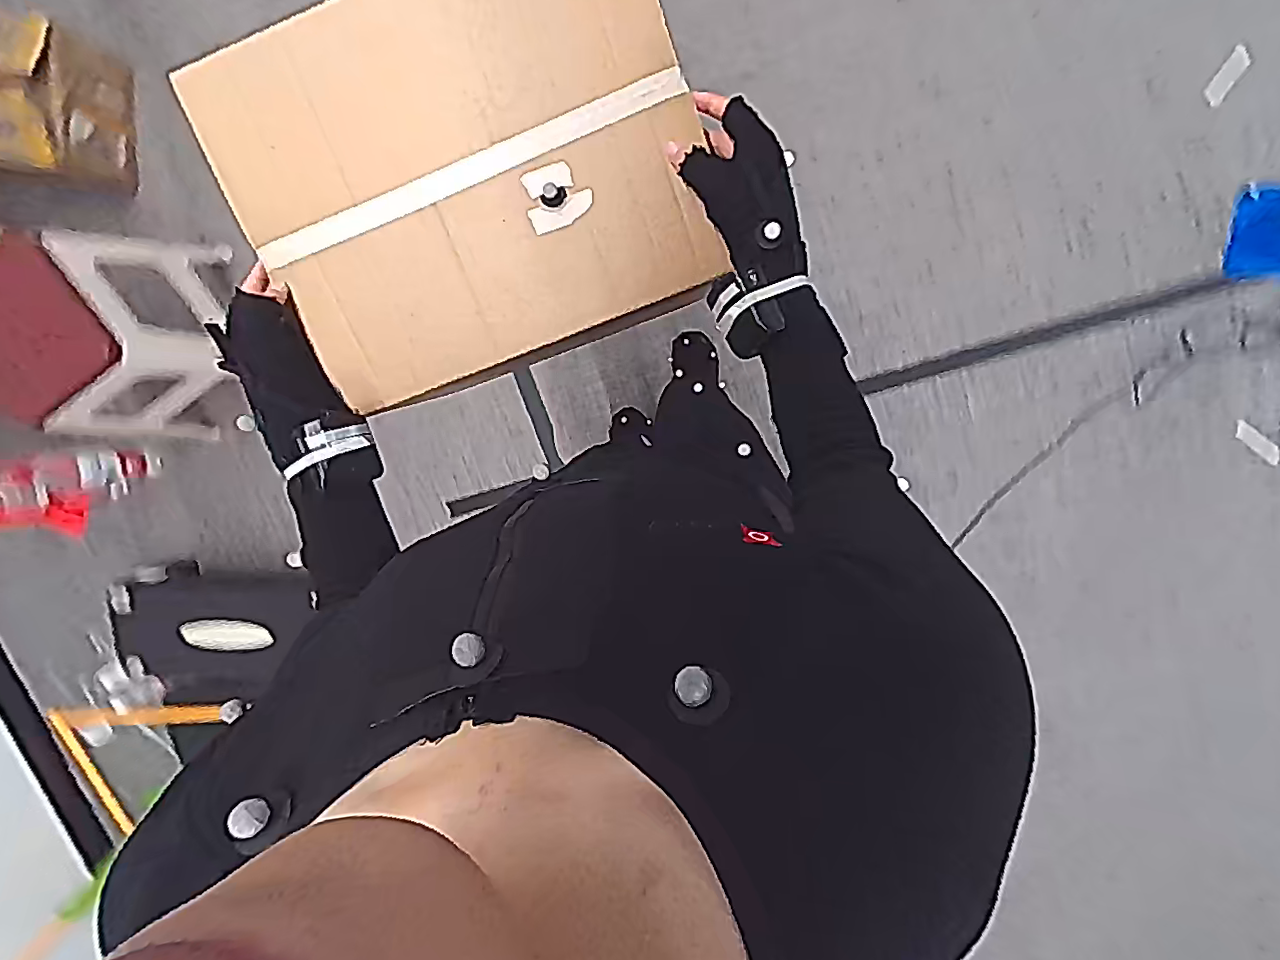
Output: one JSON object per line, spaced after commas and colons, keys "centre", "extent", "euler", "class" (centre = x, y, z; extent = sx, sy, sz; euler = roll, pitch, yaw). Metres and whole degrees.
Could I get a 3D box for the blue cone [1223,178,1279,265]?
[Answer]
{"centre": [1.472, -0.574, 1.103], "extent": [0.192, 0.380, 0.193], "euler": [4, 100, 4], "class": "blue cone"}
